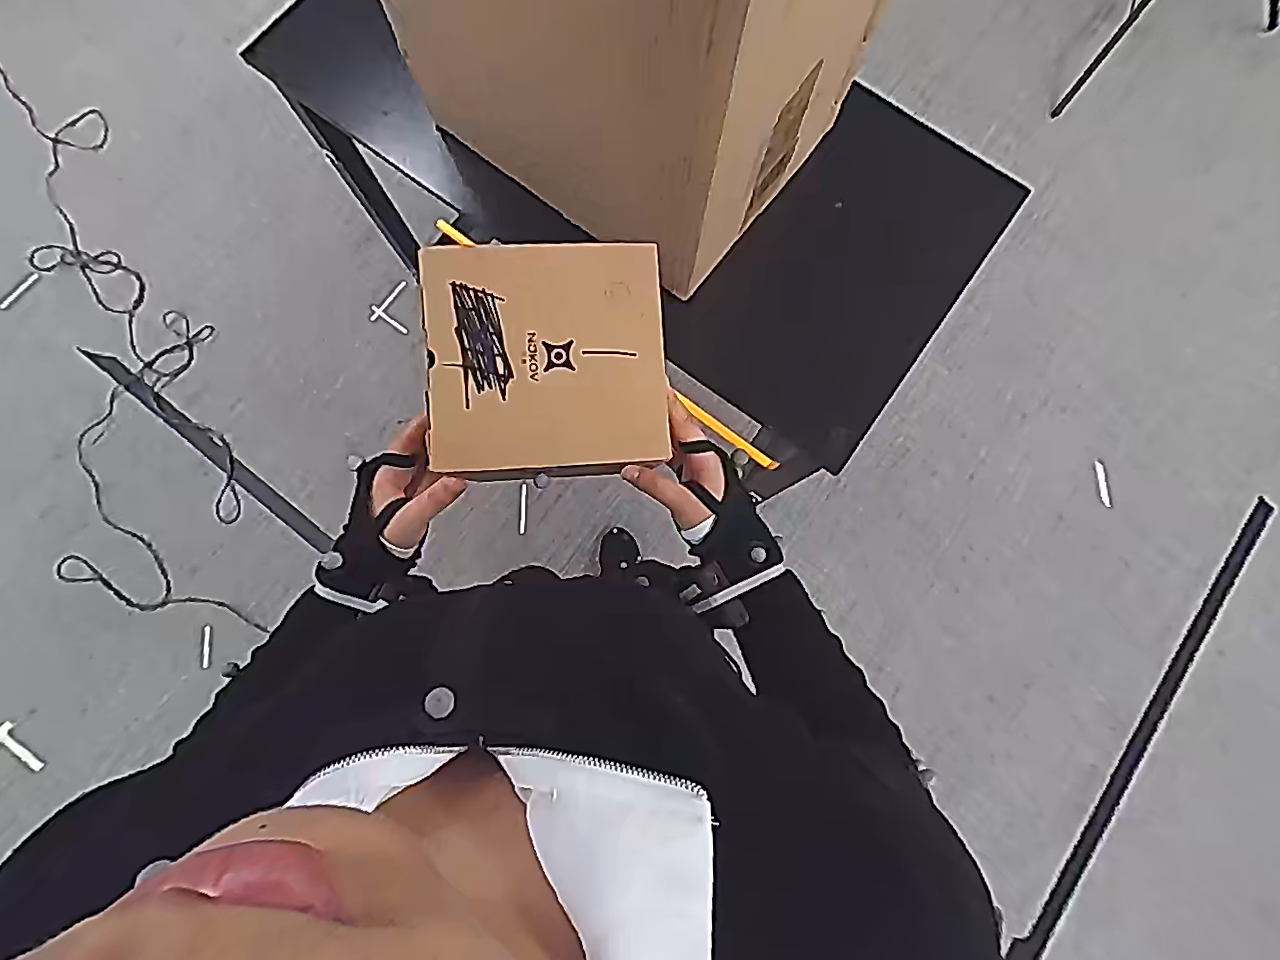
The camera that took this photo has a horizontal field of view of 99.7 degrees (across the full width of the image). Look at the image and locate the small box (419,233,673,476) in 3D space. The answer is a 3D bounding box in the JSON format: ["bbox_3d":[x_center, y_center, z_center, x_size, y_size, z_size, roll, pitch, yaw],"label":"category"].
[{"bbox_3d":[-0.073,-0.092,0.465,0.179,0.176,0.168,-3,89,-7],"label":"small box"}]
